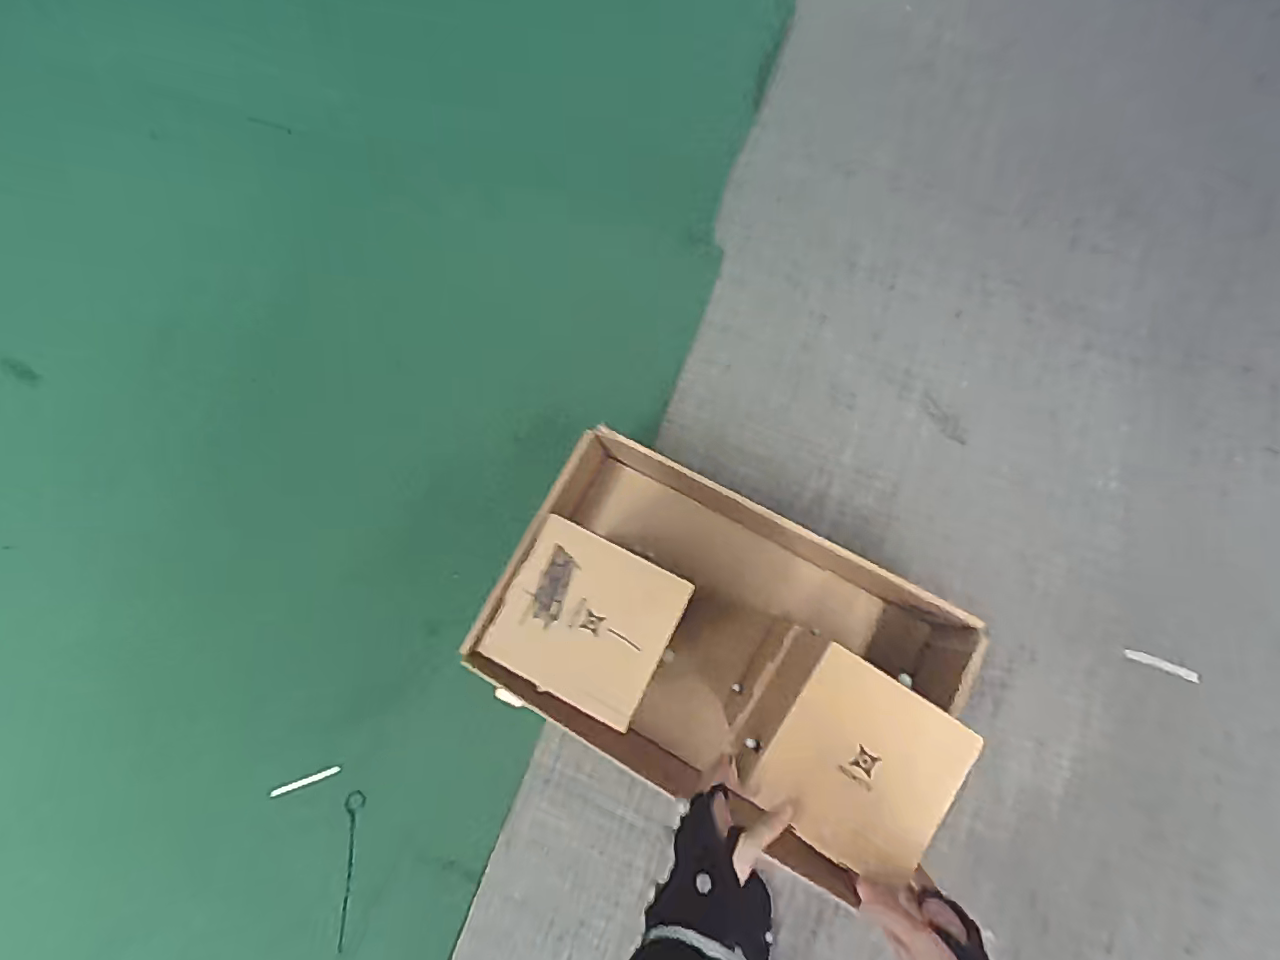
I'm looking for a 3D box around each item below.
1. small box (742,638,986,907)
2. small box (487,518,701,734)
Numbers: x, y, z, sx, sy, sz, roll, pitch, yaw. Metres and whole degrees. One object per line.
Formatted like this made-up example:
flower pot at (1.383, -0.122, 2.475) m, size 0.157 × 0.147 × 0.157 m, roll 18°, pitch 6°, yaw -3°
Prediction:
small box at (0.226, 0.296, 0.599) m, size 0.168 × 0.176 × 0.179 m, roll 33°, pitch 85°, yaw 10°
small box at (-0.045, 0.166, 0.644) m, size 0.179 × 0.176 × 0.168 m, roll 27°, pitch 81°, yaw 8°
